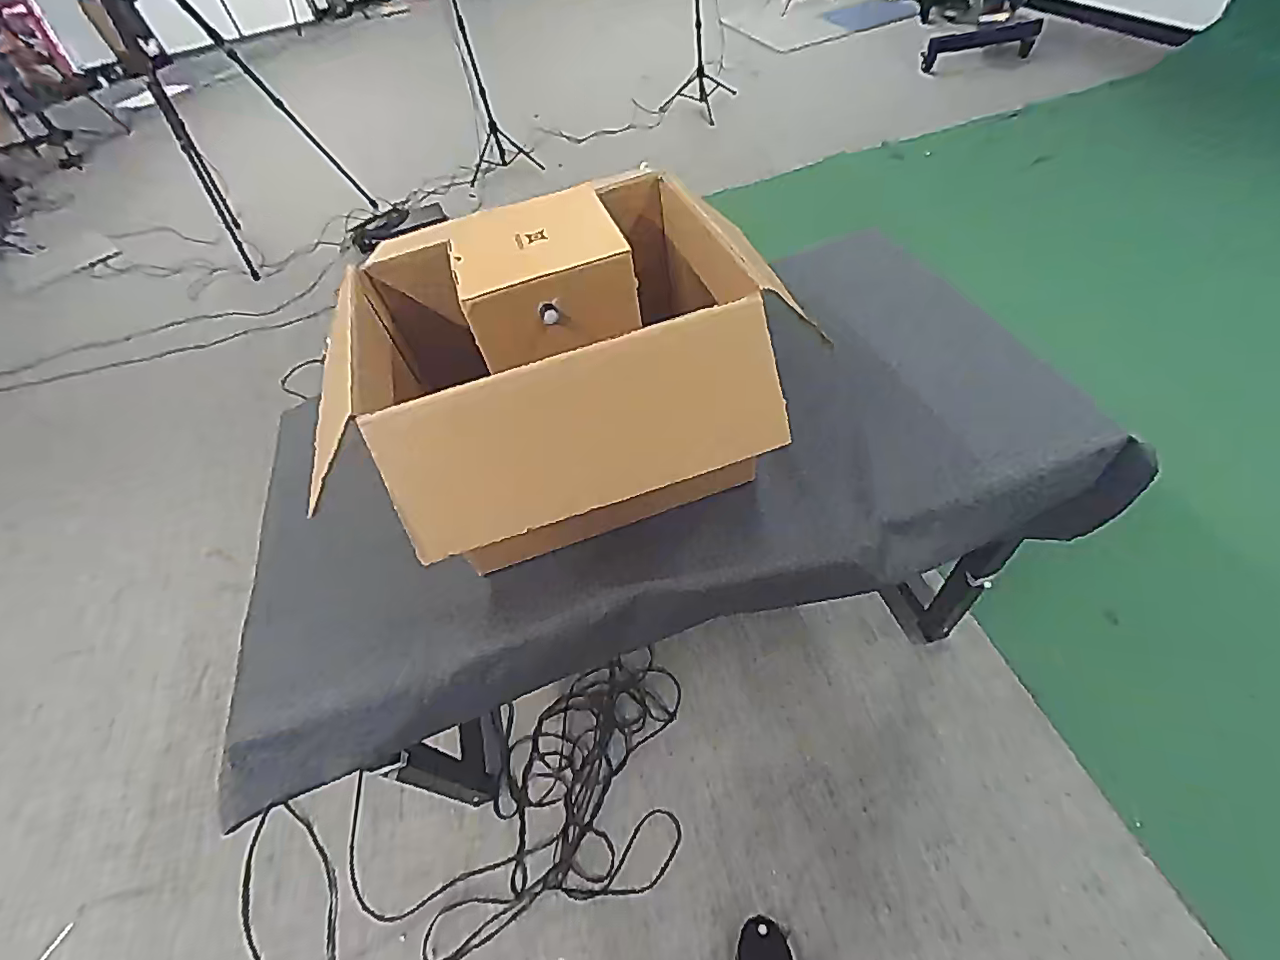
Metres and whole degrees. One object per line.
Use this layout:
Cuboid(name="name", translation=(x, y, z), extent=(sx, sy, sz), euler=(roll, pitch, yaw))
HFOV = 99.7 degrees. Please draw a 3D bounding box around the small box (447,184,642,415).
Cuboid(name="small box", translation=(-0.102, -0.205, 0.629), extent=(0.179, 0.176, 0.168), euler=(-19, 52, -5))
